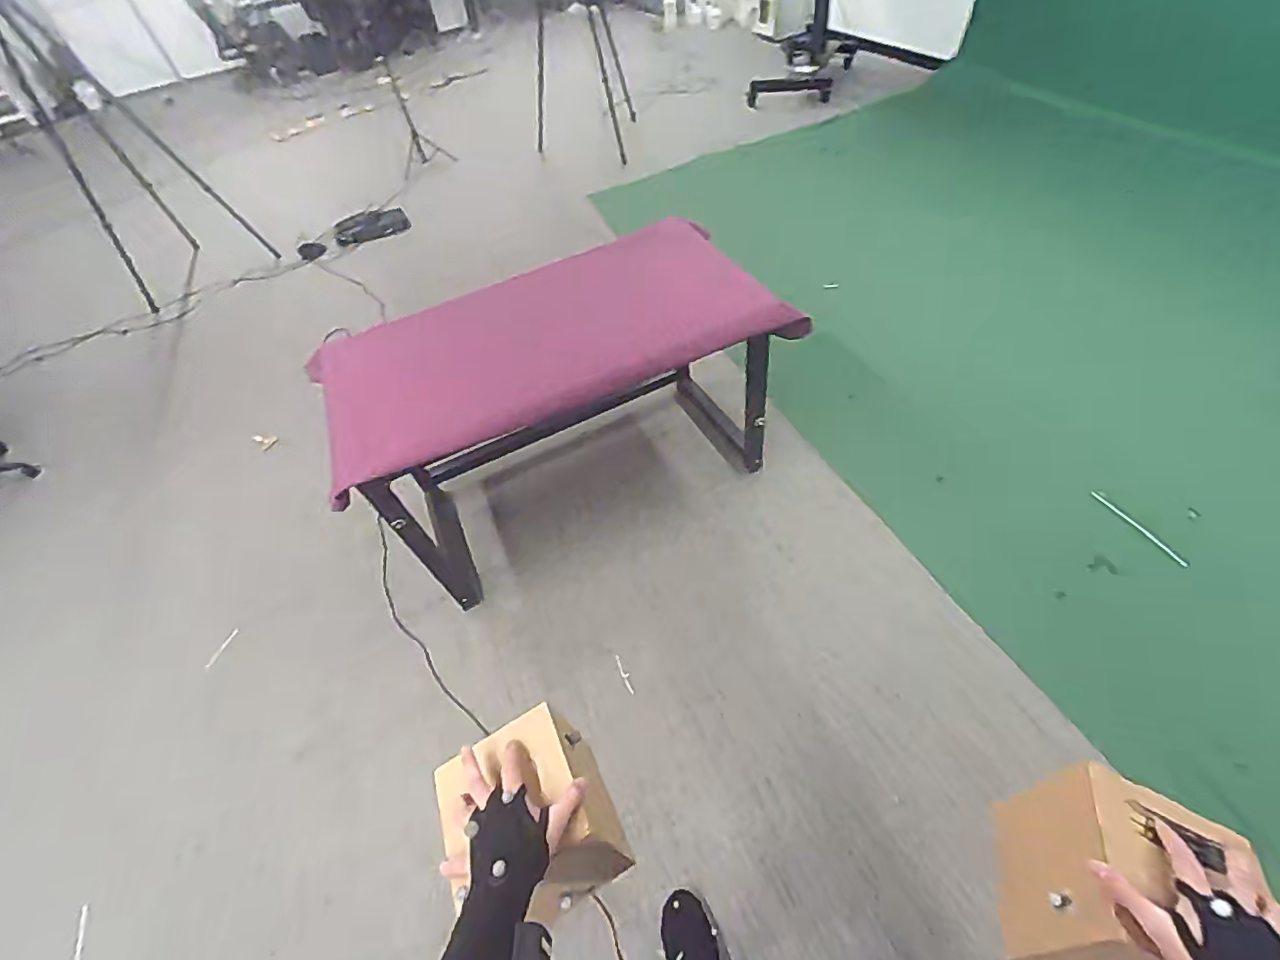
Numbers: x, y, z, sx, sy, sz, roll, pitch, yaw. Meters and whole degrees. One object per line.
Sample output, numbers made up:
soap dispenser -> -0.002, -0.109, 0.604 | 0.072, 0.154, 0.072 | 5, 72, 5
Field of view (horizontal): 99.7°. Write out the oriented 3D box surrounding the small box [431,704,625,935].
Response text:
small box -> -0.143, 0.438, 0.700 | 0.168, 0.176, 0.179 | -31, 41, -8
